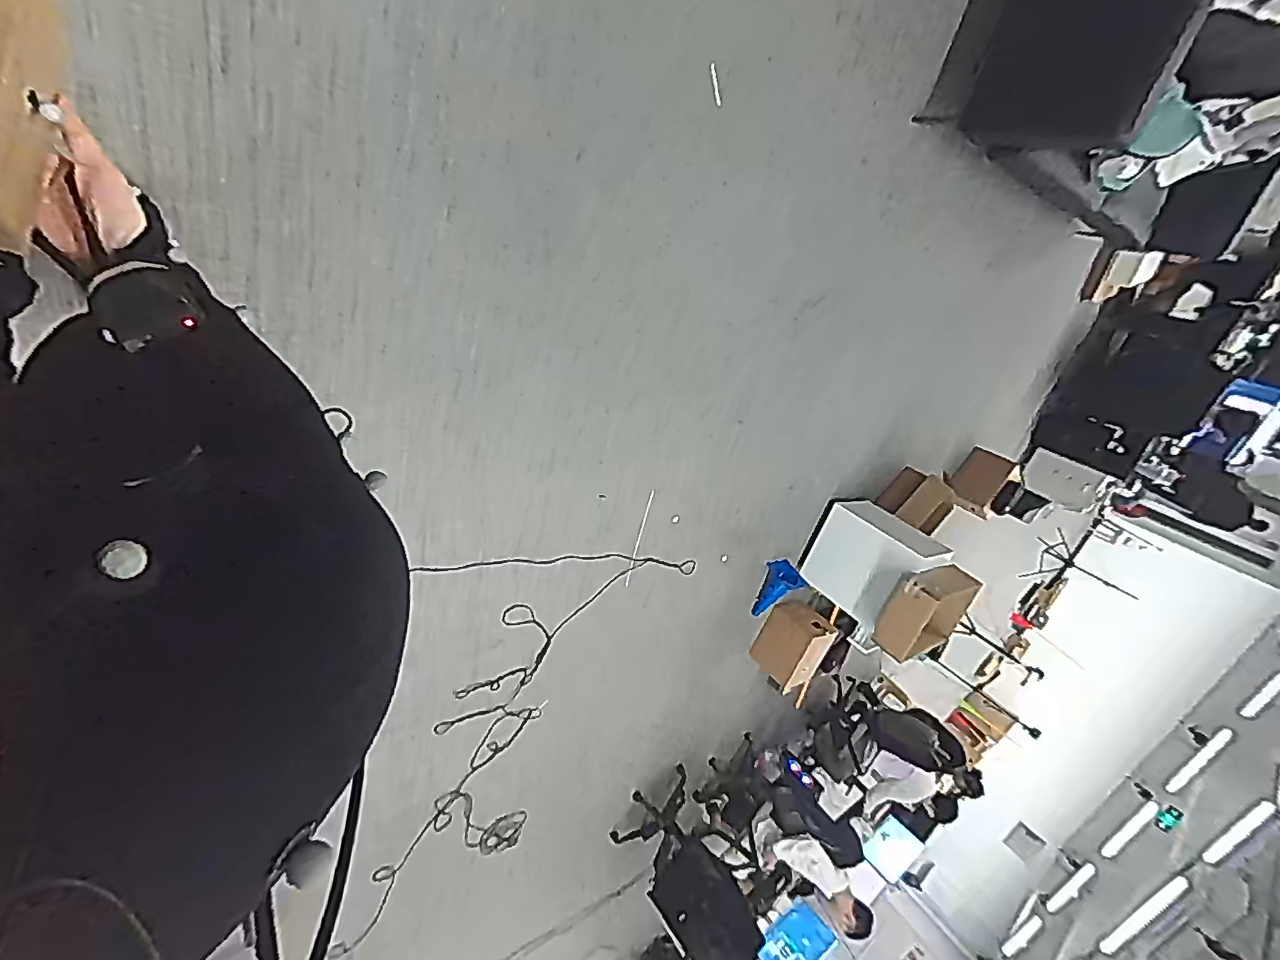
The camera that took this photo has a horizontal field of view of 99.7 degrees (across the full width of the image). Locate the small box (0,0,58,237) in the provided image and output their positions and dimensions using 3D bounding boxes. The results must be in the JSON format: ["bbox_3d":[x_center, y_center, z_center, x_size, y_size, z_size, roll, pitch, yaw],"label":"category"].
[{"bbox_3d":[-0.449,-0.263,0.289,0.168,0.176,0.179,11,88,-43],"label":"small box"}]
